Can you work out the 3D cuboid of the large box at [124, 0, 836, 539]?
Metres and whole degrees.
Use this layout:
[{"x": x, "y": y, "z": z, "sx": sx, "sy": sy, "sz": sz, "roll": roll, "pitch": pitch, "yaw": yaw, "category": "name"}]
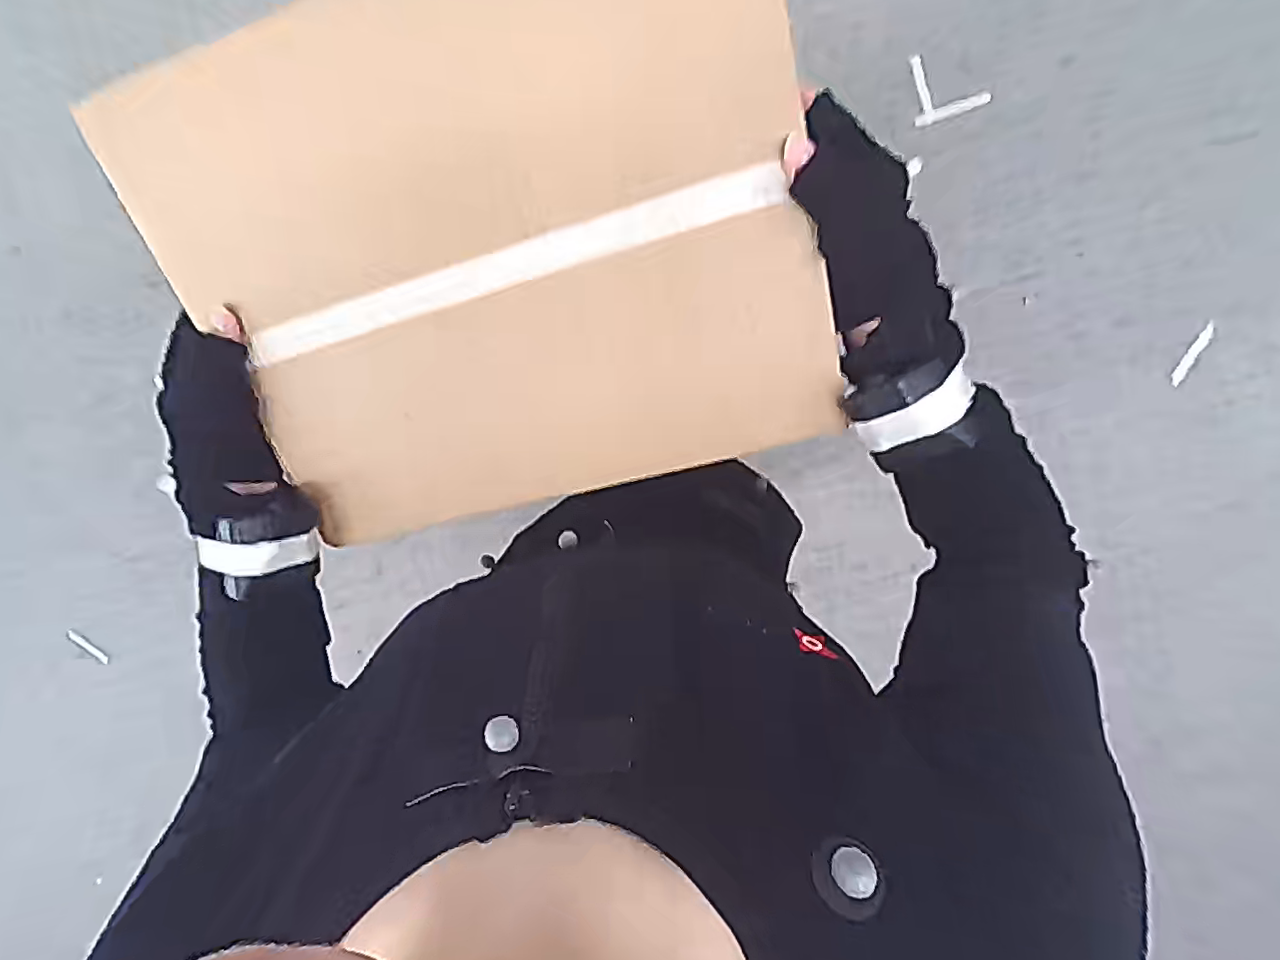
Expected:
[{"x": -0.083, "y": -0.189, "z": 0.489, "sx": 0.408, "sy": 0.320, "sz": 0.320, "roll": -13, "pitch": 114, "yaw": 11, "category": "large box"}]
